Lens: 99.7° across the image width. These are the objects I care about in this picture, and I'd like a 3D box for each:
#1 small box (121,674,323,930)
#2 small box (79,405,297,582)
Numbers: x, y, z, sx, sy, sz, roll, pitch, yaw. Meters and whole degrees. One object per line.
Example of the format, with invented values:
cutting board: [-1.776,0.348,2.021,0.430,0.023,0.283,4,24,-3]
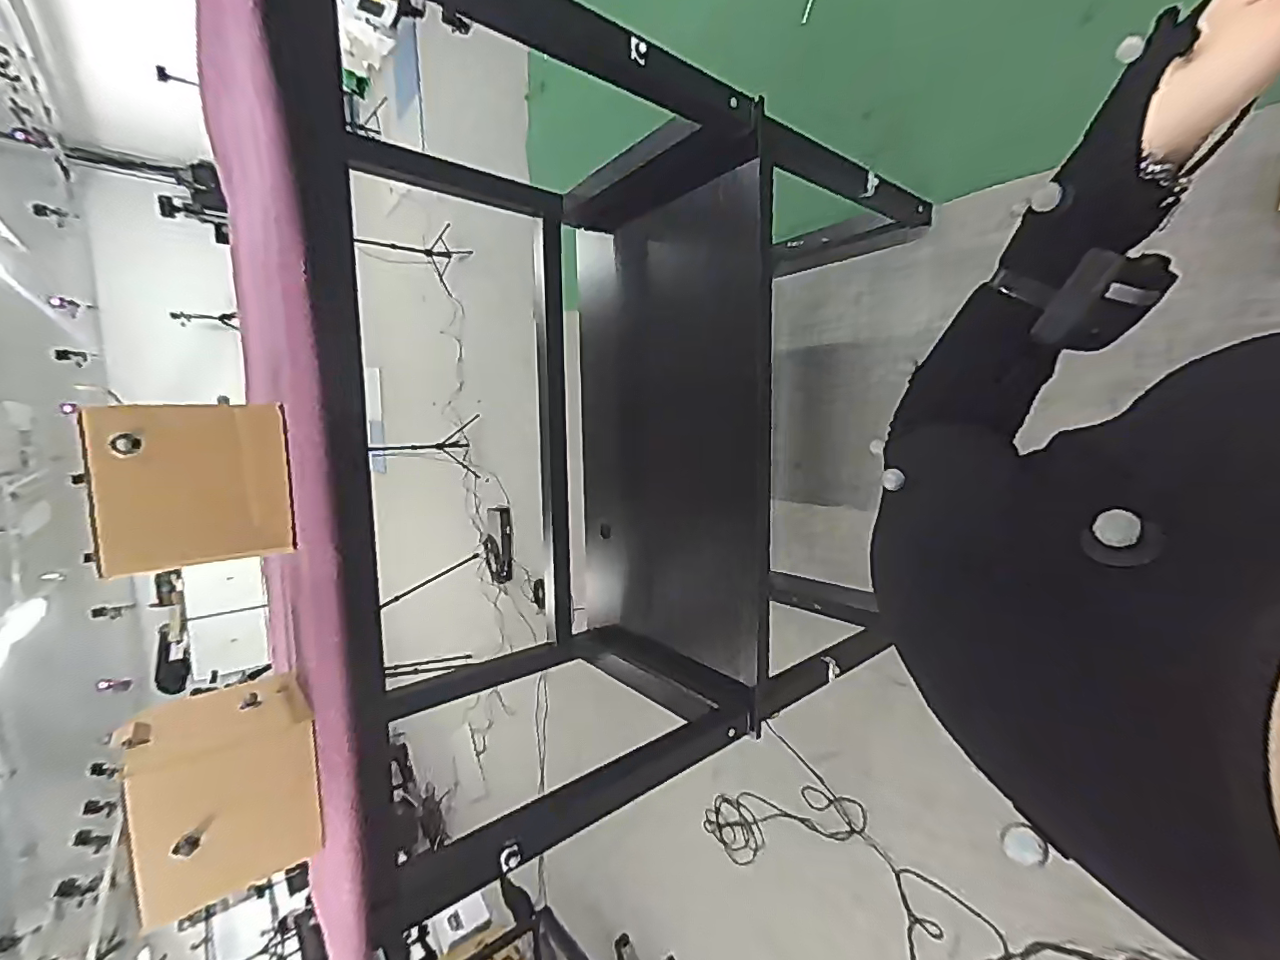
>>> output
small box: [-0.495,0.365,0.655,0.168,0.176,0.179,5,98,50]
small box: [-0.512,0.003,0.636,0.168,0.176,0.179,6,99,52]
